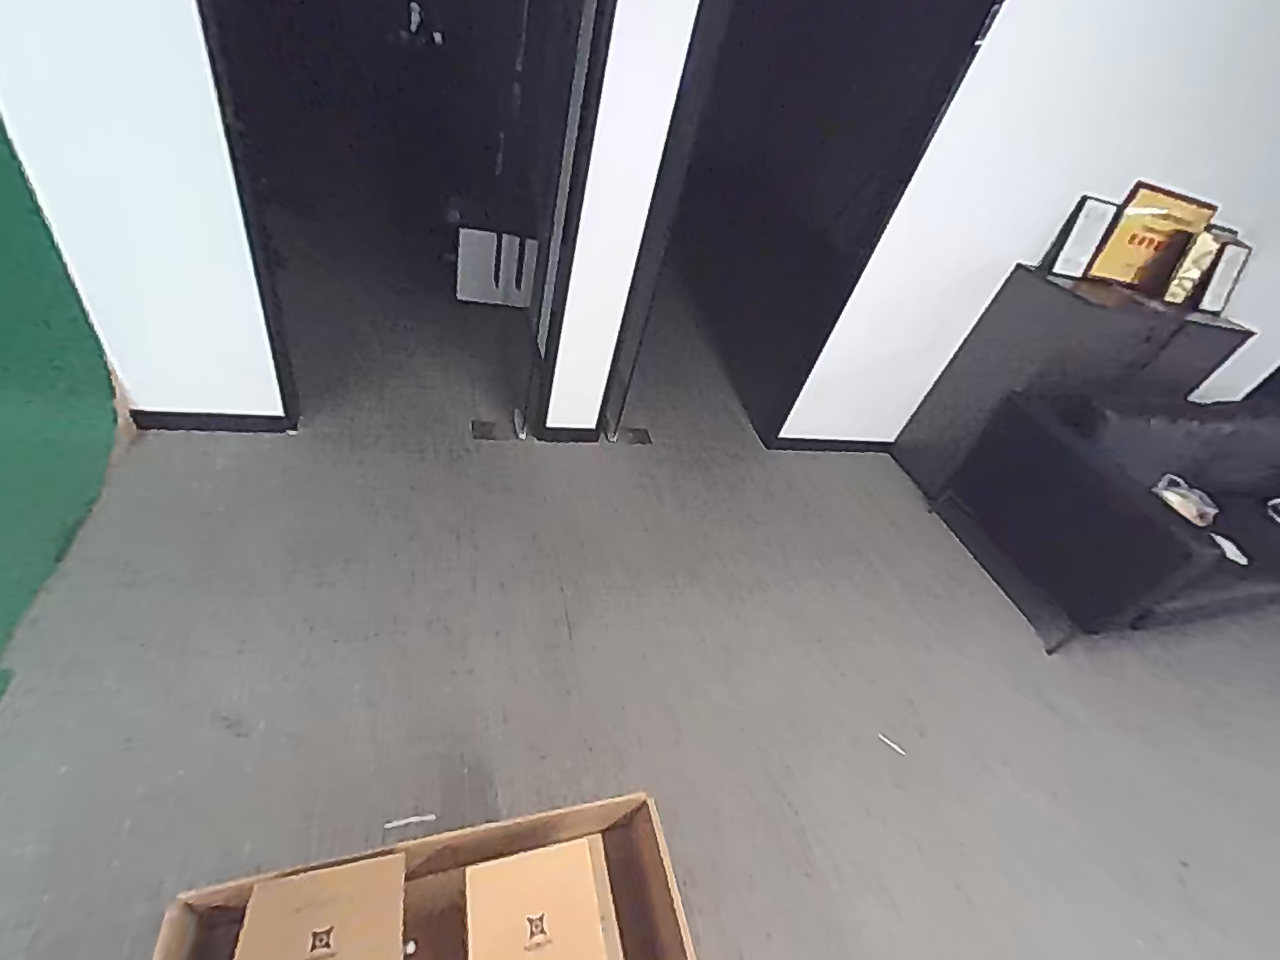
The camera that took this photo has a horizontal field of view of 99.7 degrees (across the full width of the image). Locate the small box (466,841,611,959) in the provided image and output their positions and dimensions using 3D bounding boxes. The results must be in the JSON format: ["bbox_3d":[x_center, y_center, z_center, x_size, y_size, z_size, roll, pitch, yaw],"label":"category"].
[{"bbox_3d":[-0.142,0.624,0.724,0.168,0.176,0.179,-1,44,-20],"label":"small box"}]
